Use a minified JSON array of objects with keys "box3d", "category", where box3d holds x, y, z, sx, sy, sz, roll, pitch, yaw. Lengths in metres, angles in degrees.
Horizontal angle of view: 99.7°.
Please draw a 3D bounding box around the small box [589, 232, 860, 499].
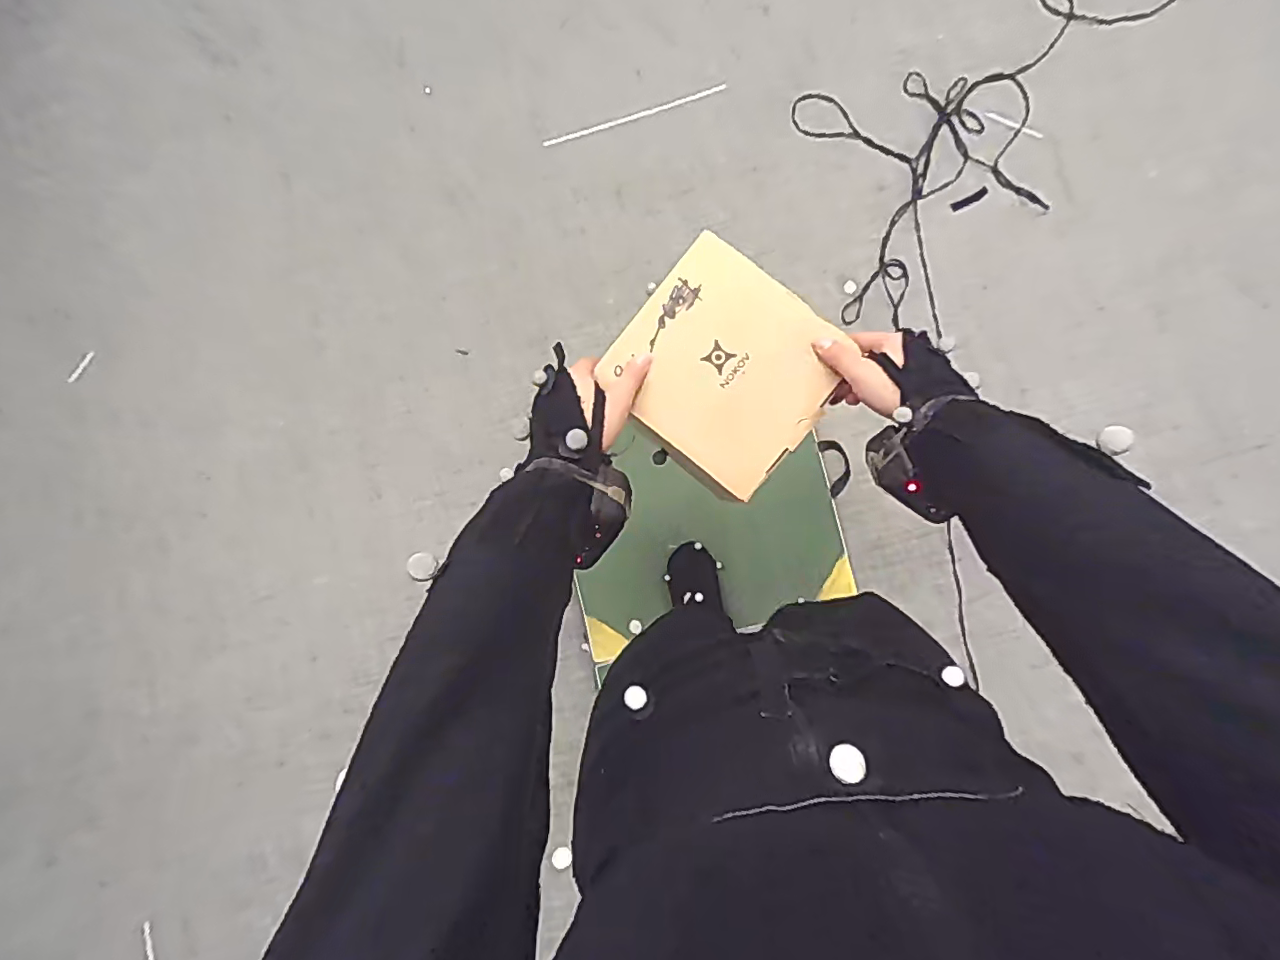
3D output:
[{"box3d":[0.075,-0.100,0.543,0.179,0.176,0.168,39,90,2],"category":"small box"}]
